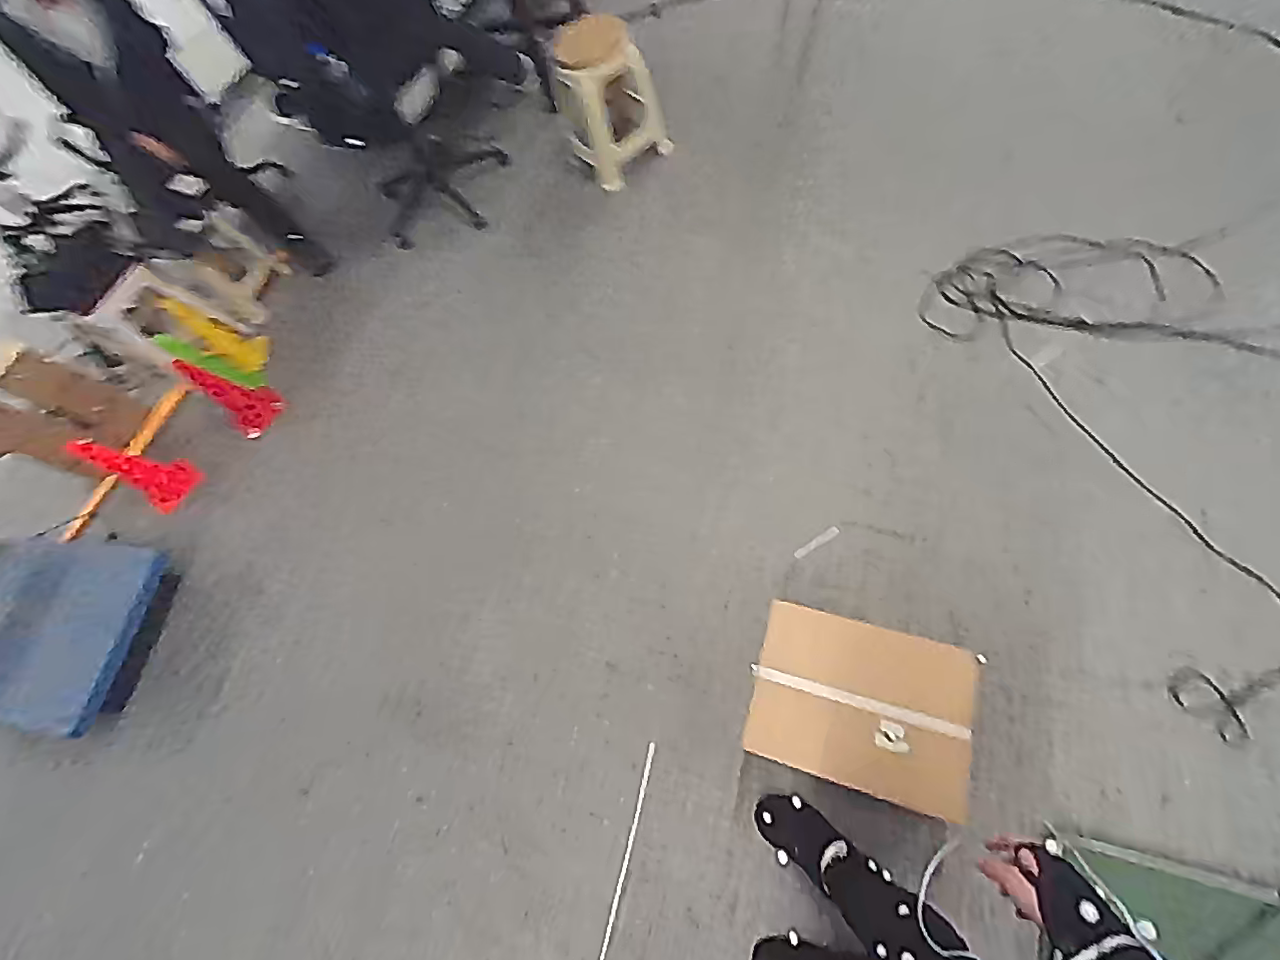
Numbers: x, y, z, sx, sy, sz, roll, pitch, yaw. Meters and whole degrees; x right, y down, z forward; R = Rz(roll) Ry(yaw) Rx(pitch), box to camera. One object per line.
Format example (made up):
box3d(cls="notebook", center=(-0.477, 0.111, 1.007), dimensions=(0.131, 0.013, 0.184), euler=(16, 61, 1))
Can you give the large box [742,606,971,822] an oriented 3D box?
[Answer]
box3d(cls="large box", center=(0.458, 0.507, 1.211), dimensions=(0.408, 0.320, 0.320), euler=(11, 69, 17))
